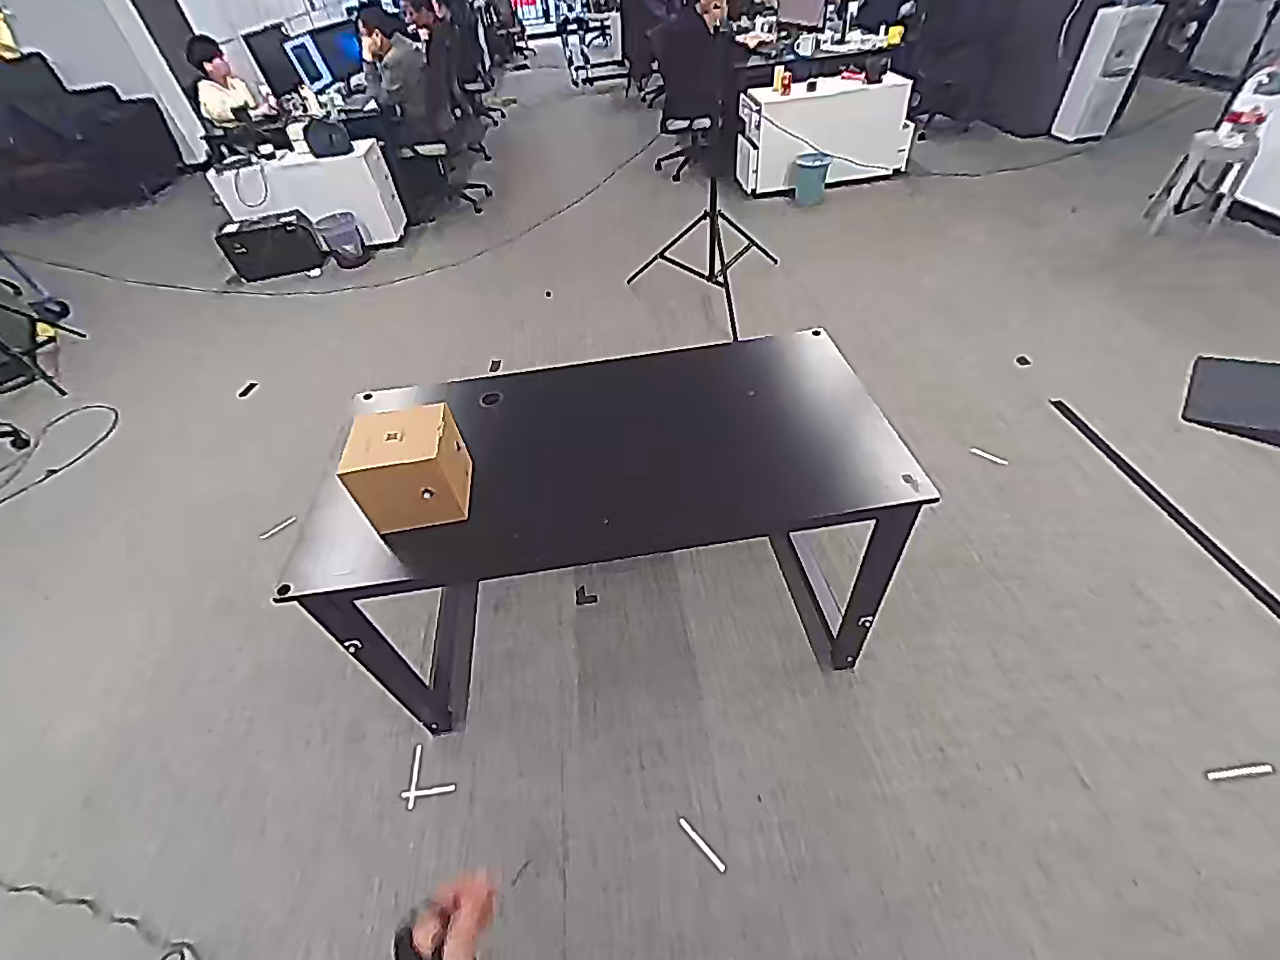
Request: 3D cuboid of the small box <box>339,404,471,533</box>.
[{"bbox_3d":[-0.437,-0.021,1.043,0.179,0.176,0.168,-11,45,-2],"label":"small box"}]
